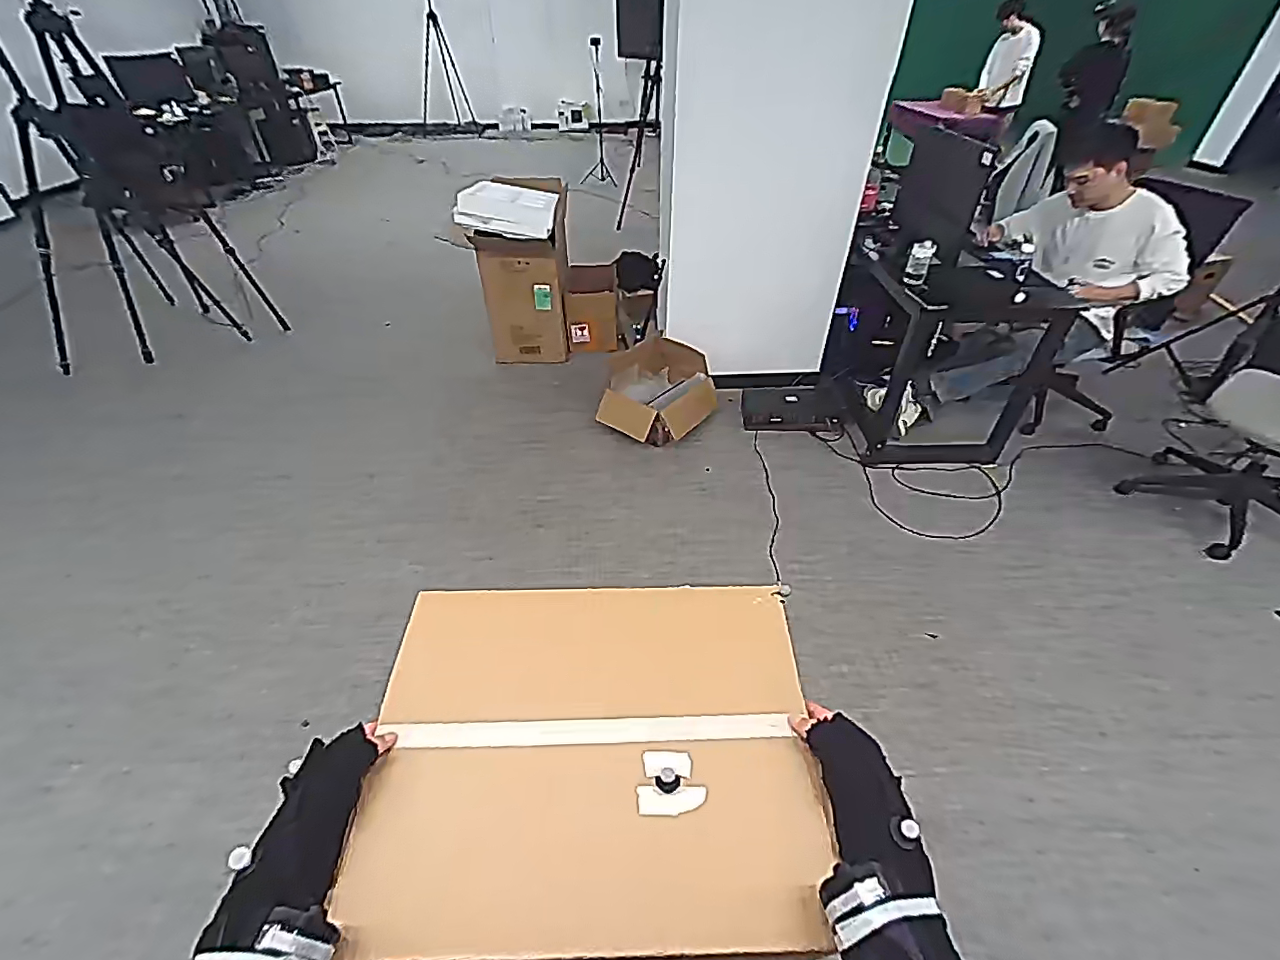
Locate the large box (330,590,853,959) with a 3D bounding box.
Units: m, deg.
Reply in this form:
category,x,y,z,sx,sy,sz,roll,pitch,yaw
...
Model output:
category,x,y,z,sx,sy,sz,roll,pitch,yaw
large box,-0.041,0.343,0.613,0.408,0.320,0.320,0,46,-1
